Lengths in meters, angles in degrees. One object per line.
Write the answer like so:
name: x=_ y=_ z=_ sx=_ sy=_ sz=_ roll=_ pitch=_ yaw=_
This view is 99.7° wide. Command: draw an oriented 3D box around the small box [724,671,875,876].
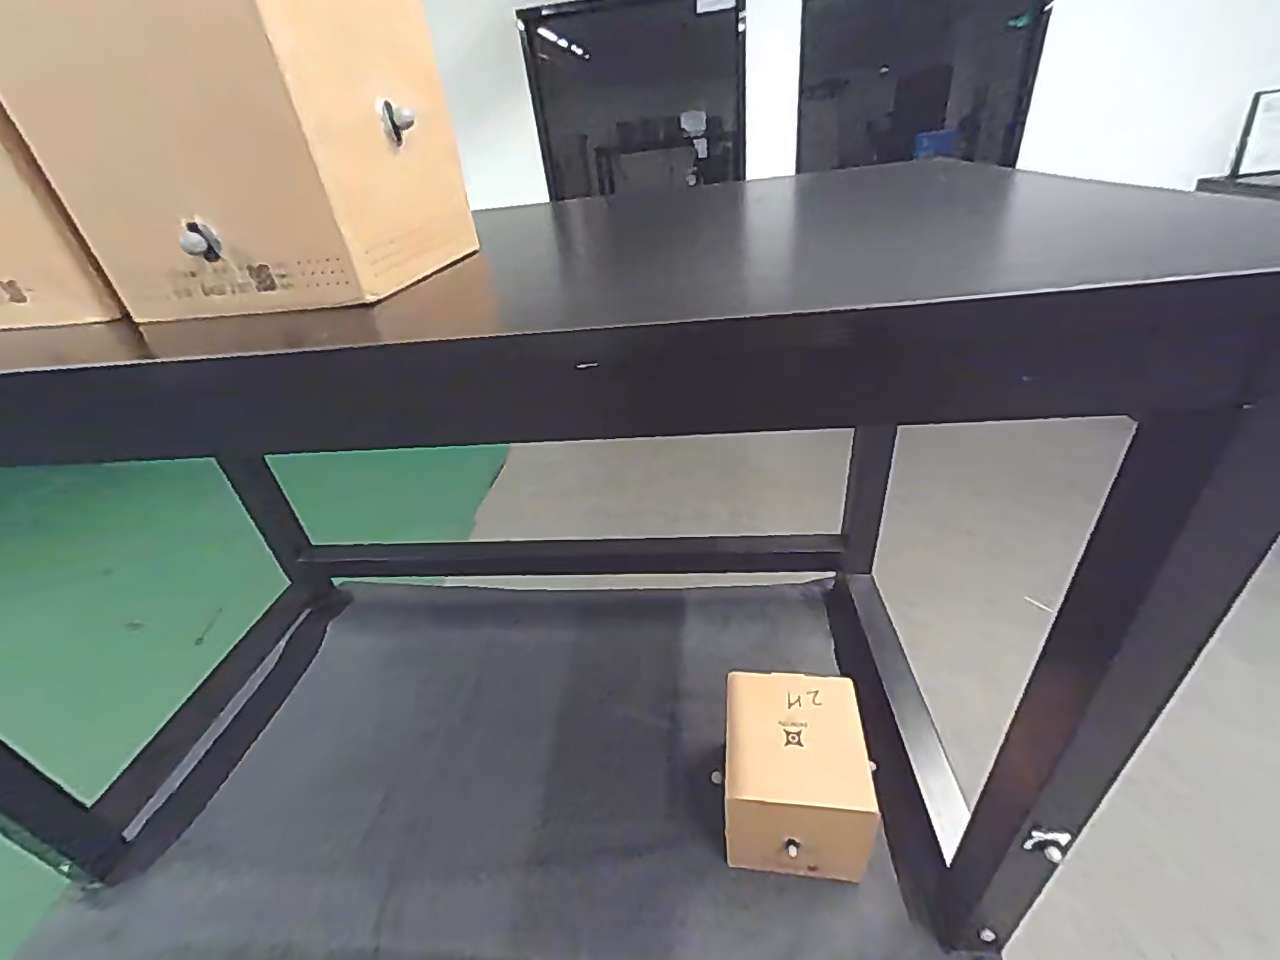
small box: x=0.199 y=0.381 z=0.709 sx=0.168 sy=0.176 sz=0.179 roll=0 pitch=32 yaw=11

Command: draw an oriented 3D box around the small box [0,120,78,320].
small box: x=-0.618 y=-0.203 z=0.425 sx=0.168 sy=0.176 sz=0.179 roll=-1 pitch=34 yaw=9
